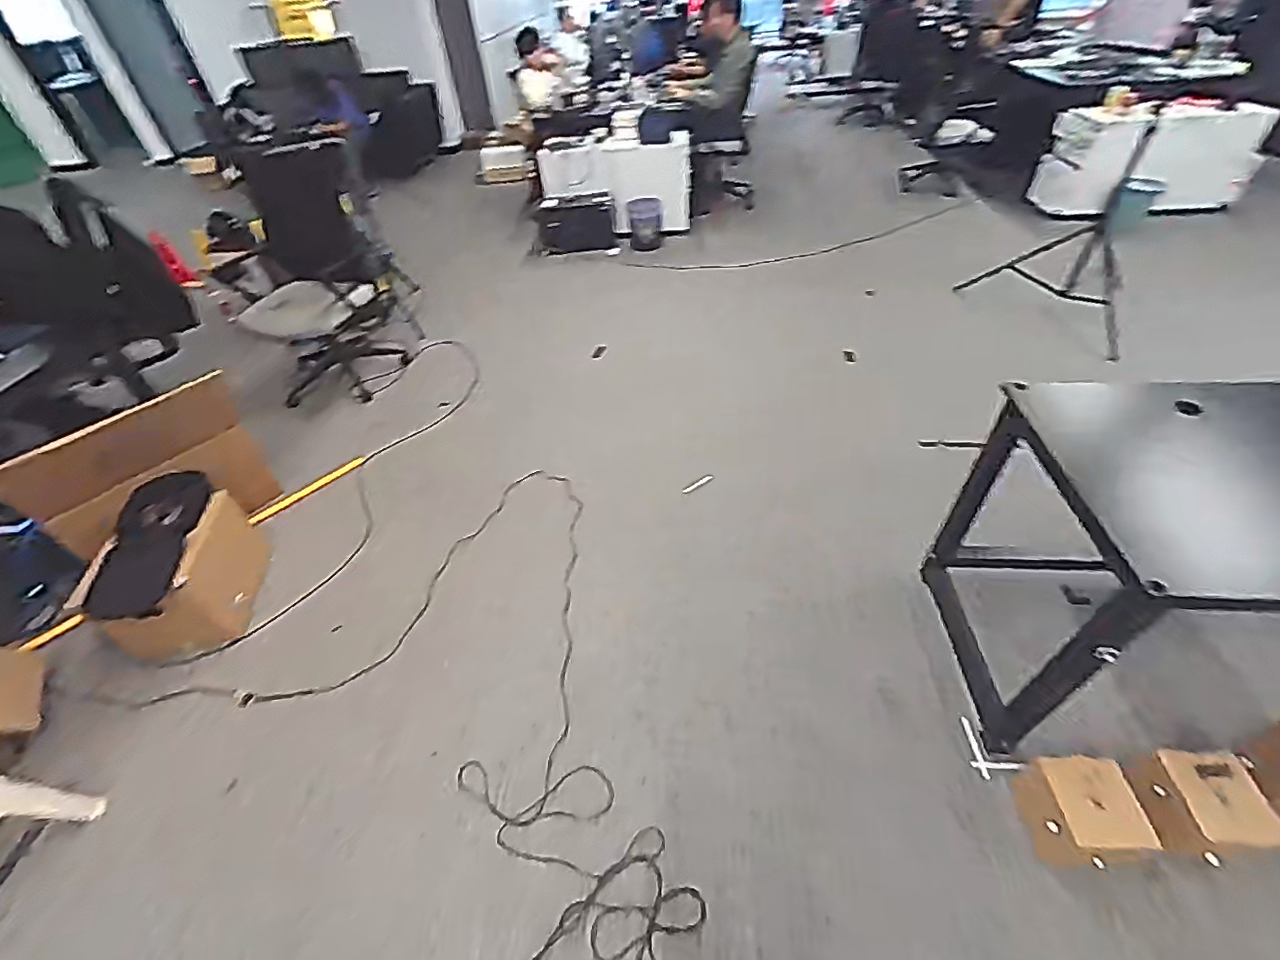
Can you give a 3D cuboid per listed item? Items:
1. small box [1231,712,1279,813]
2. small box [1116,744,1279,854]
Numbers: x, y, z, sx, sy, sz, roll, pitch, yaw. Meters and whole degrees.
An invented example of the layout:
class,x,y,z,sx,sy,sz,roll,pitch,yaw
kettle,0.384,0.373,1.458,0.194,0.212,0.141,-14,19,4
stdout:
class,x,y,z,sx,sy,sz,roll,pitch,yaw
small box,1.535,0.670,1.235,0.179,0.176,0.168,14,46,21
small box,1.238,0.716,1.214,0.168,0.176,0.179,-1,45,5
